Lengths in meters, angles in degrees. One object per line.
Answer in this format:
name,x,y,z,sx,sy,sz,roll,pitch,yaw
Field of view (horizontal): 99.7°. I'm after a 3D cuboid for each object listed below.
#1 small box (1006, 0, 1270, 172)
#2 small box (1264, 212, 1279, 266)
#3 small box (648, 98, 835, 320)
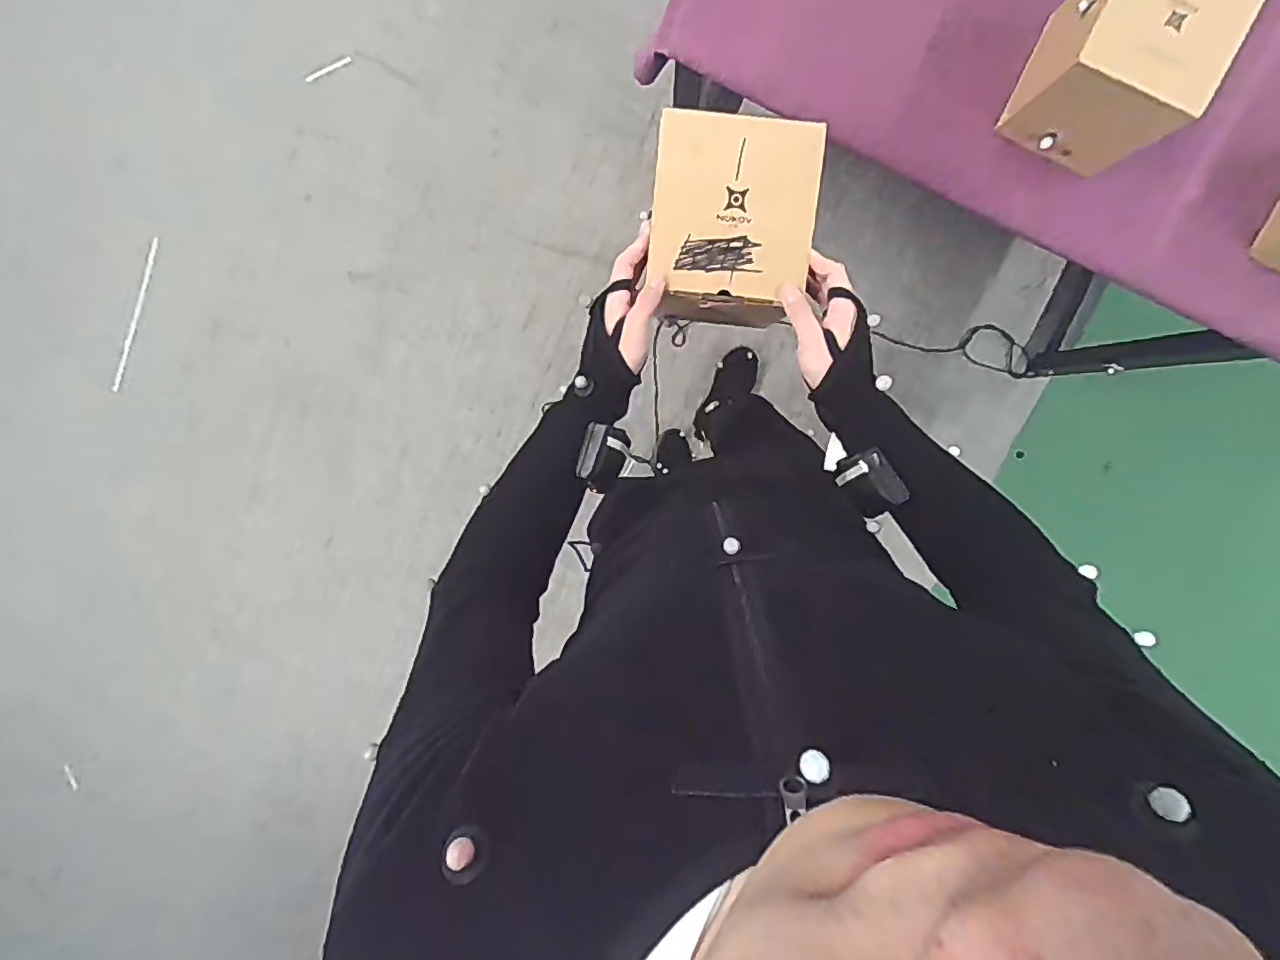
small box,0.633,-0.551,0.707,0.168,0.176,0.179,25,97,-1
small box,1.023,-0.372,0.719,0.168,0.176,0.179,27,95,-1
small box,0.100,-0.285,0.611,0.168,0.176,0.179,6,98,-1
